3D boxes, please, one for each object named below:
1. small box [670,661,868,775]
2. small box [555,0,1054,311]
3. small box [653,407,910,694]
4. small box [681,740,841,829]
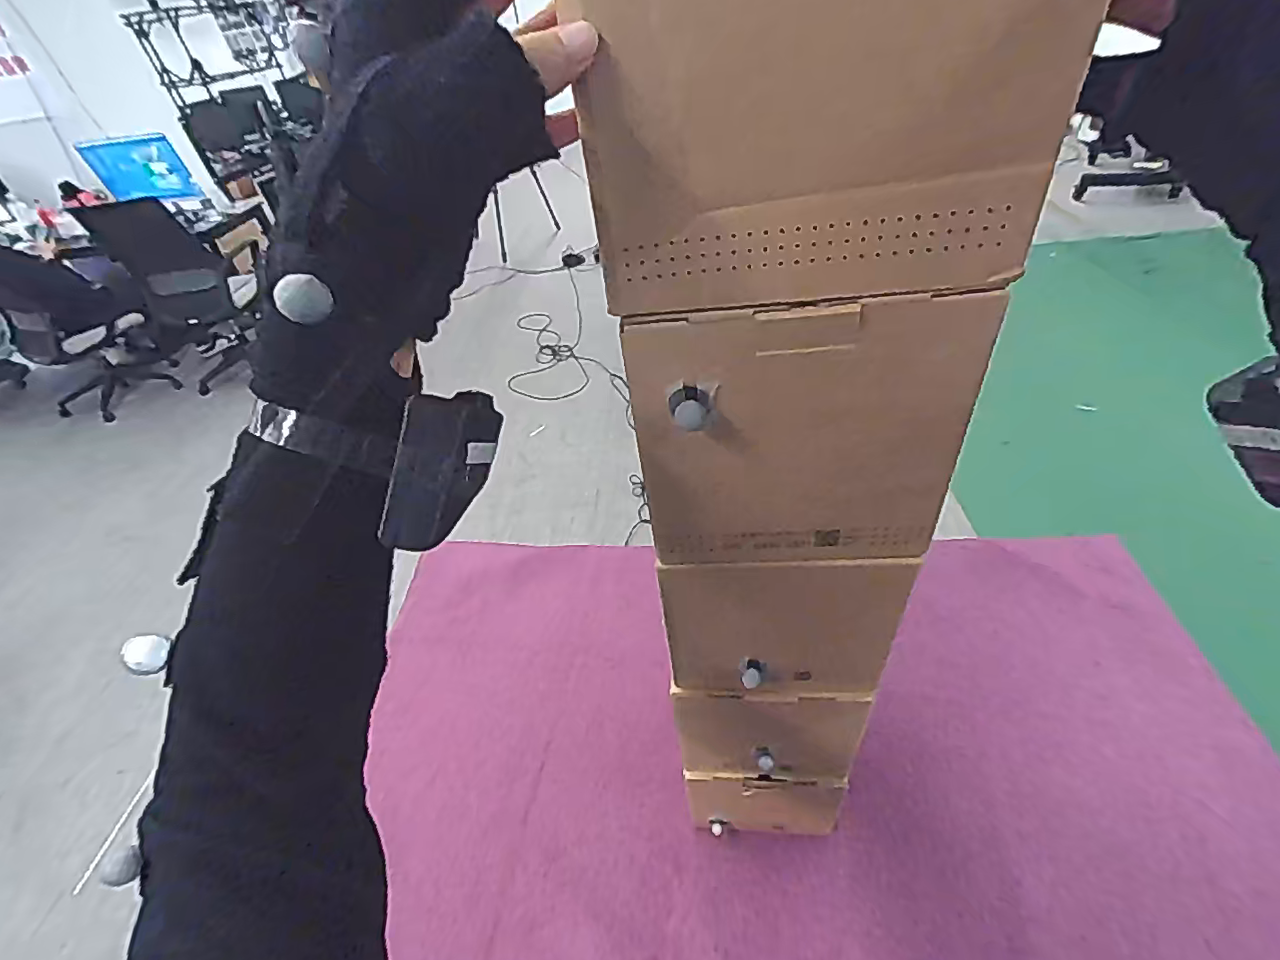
[{"bbox_3d":[0.123,0.181,0.566,0.168,0.176,0.179,-2,42,9],"label":"small box"},{"bbox_3d":[0.063,-0.190,0.252,0.179,0.176,0.168,-2,41,8],"label":"small box"},{"bbox_3d":[0.105,0.057,0.462,0.168,0.176,0.179,-2,42,9],"label":"small box"},{"bbox_3d":[0.143,0.308,0.668,0.168,0.176,0.179,-1,41,9],"label":"small box"}]
